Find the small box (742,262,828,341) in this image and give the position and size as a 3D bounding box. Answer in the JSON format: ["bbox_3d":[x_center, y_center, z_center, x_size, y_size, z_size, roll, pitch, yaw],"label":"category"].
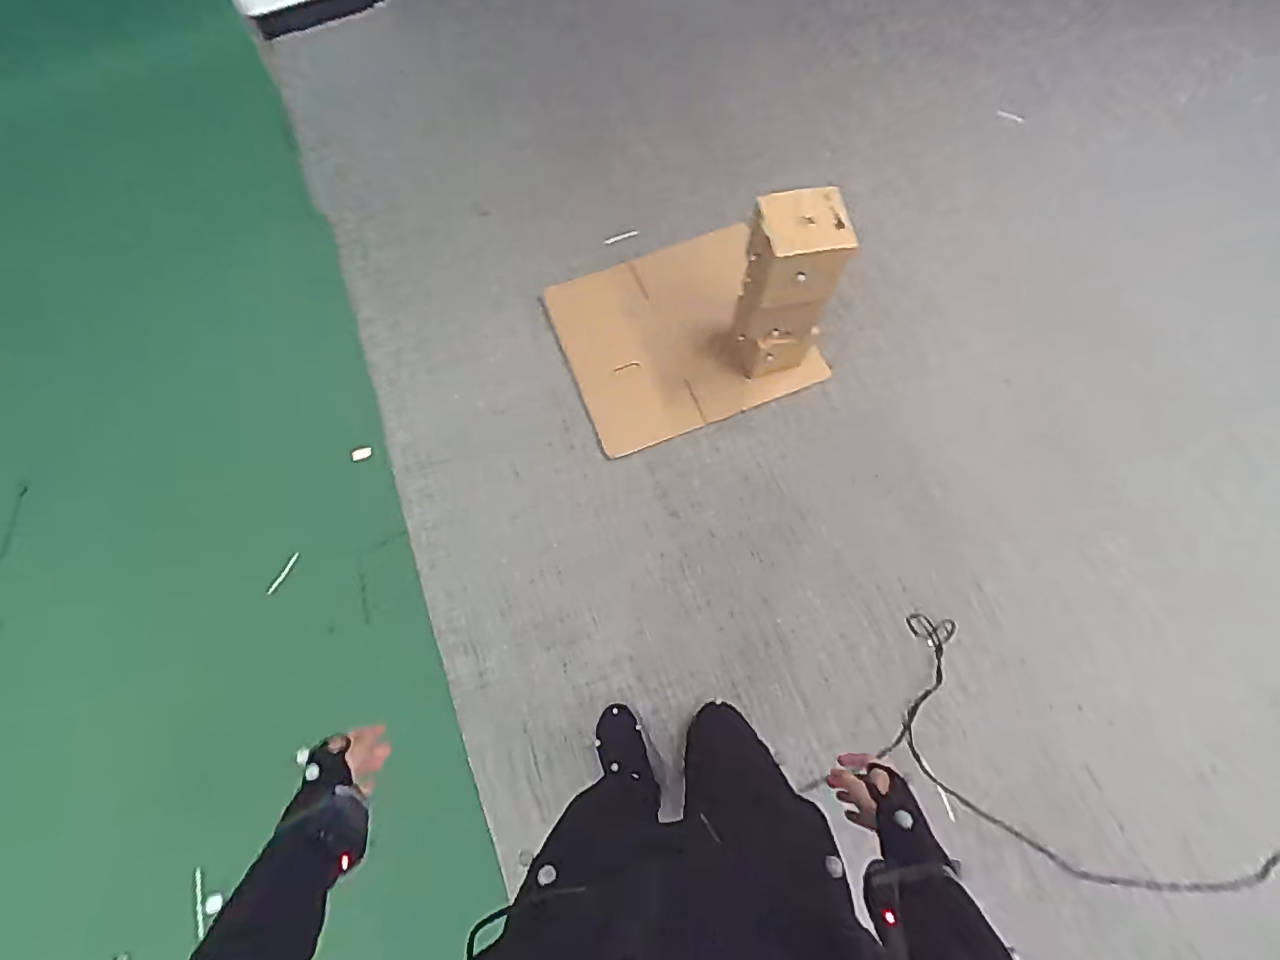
[{"bbox_3d":[0.355,-0.472,1.358,0.168,0.176,0.179,-1,72,1],"label":"small box"}]

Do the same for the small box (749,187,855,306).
[{"bbox_3d":[0.346,-0.508,1.199,0.179,0.176,0.168,-10,71,-1],"label":"small box"}]
